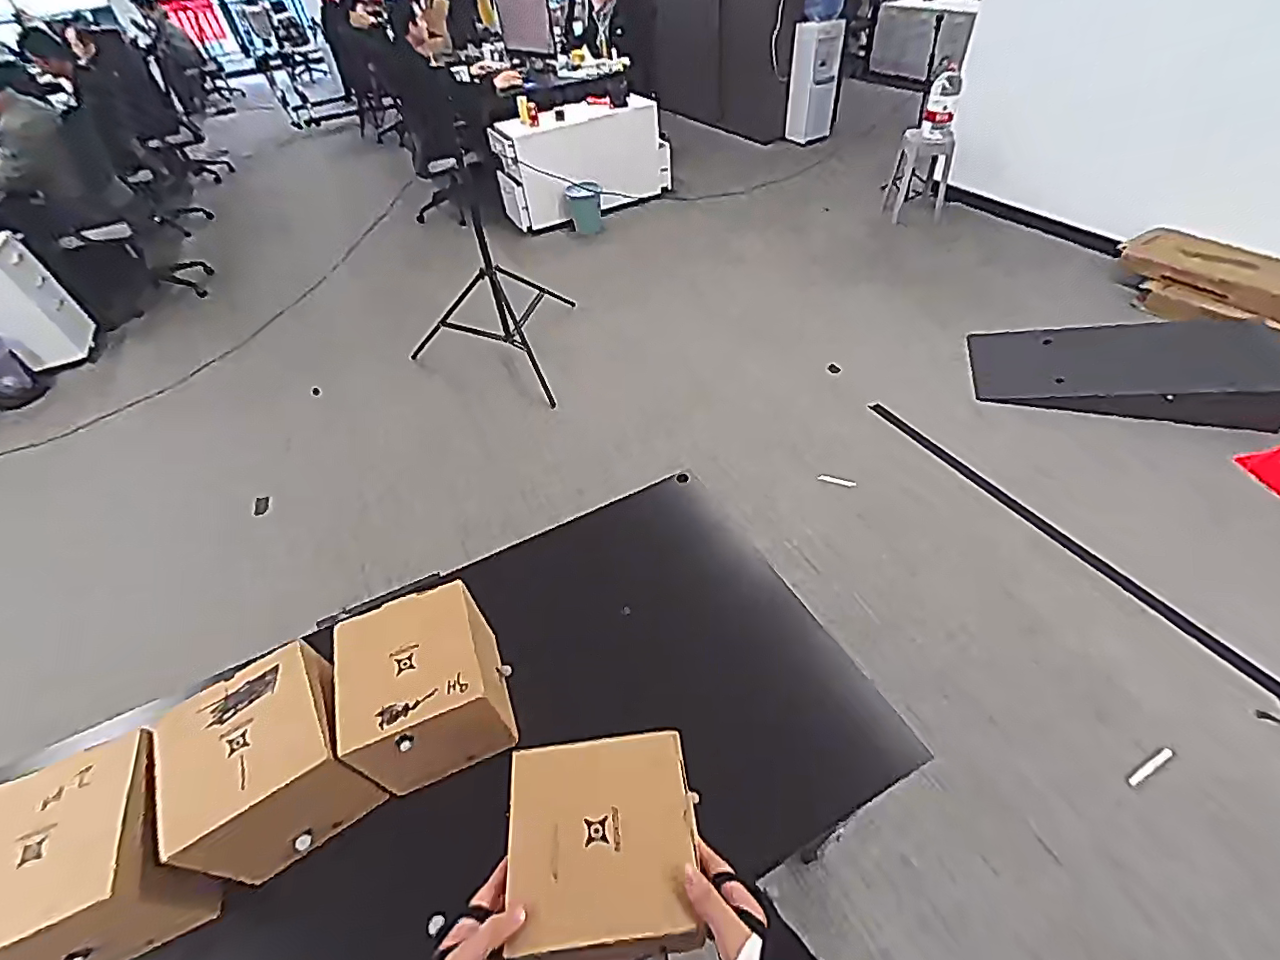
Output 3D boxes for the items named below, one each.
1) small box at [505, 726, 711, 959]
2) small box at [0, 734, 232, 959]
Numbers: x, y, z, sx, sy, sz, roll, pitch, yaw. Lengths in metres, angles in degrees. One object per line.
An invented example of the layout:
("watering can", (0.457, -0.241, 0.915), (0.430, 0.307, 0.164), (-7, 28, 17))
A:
("small box", (-0.030, 0.382, 0.561), (0.179, 0.176, 0.168), (-9, 42, -2))
("small box", (-0.600, 0.430, 0.608), (0.168, 0.176, 0.179), (-21, 47, -14))
